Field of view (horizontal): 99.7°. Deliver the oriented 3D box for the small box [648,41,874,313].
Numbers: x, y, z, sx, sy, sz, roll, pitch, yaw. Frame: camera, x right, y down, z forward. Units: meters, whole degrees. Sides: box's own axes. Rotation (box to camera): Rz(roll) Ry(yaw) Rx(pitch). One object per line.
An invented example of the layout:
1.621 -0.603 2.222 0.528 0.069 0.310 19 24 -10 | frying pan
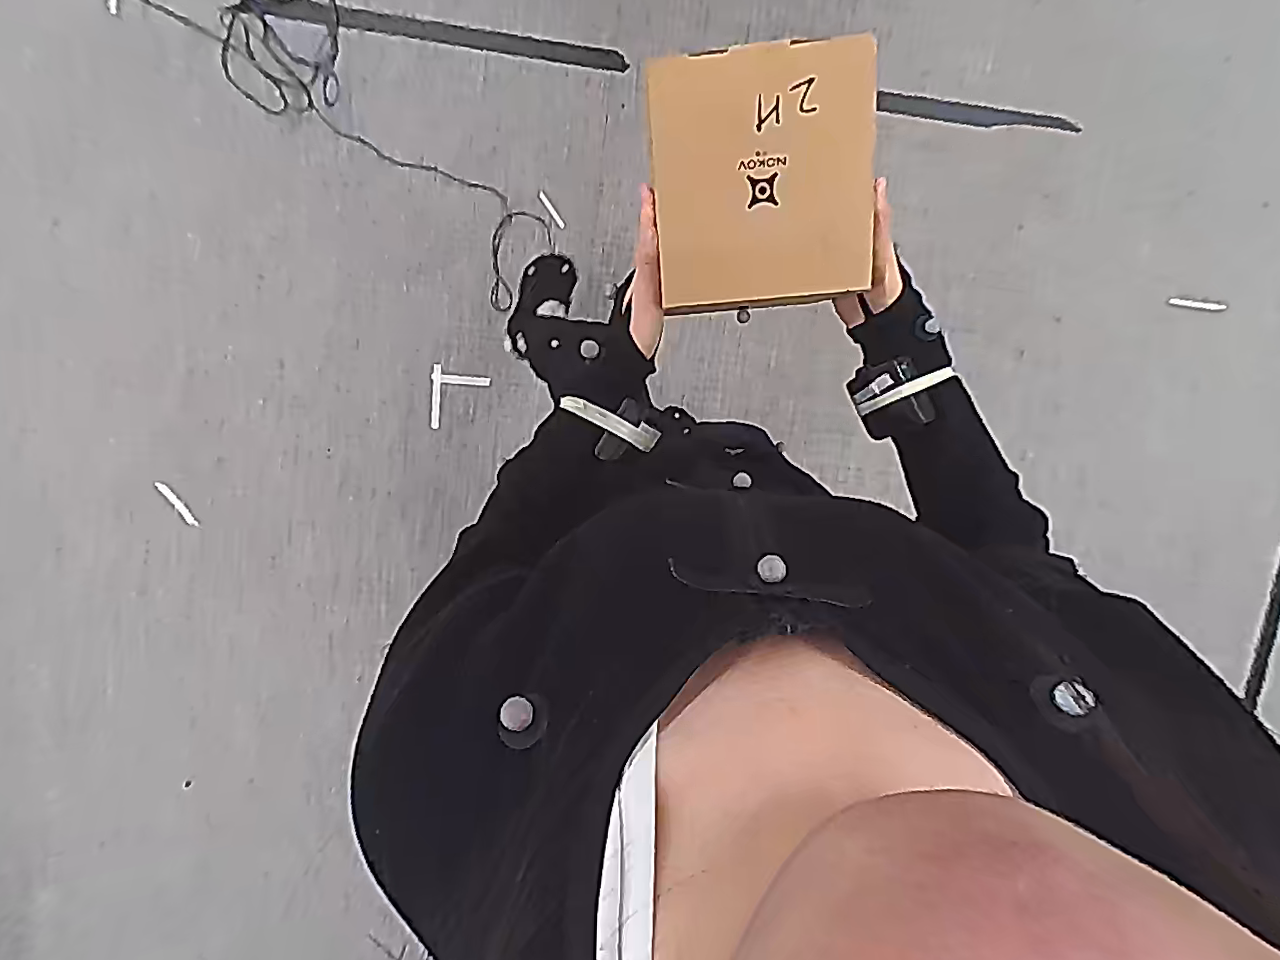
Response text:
0.096 -0.248 0.492 0.168 0.176 0.179 -4 104 2 | small box
